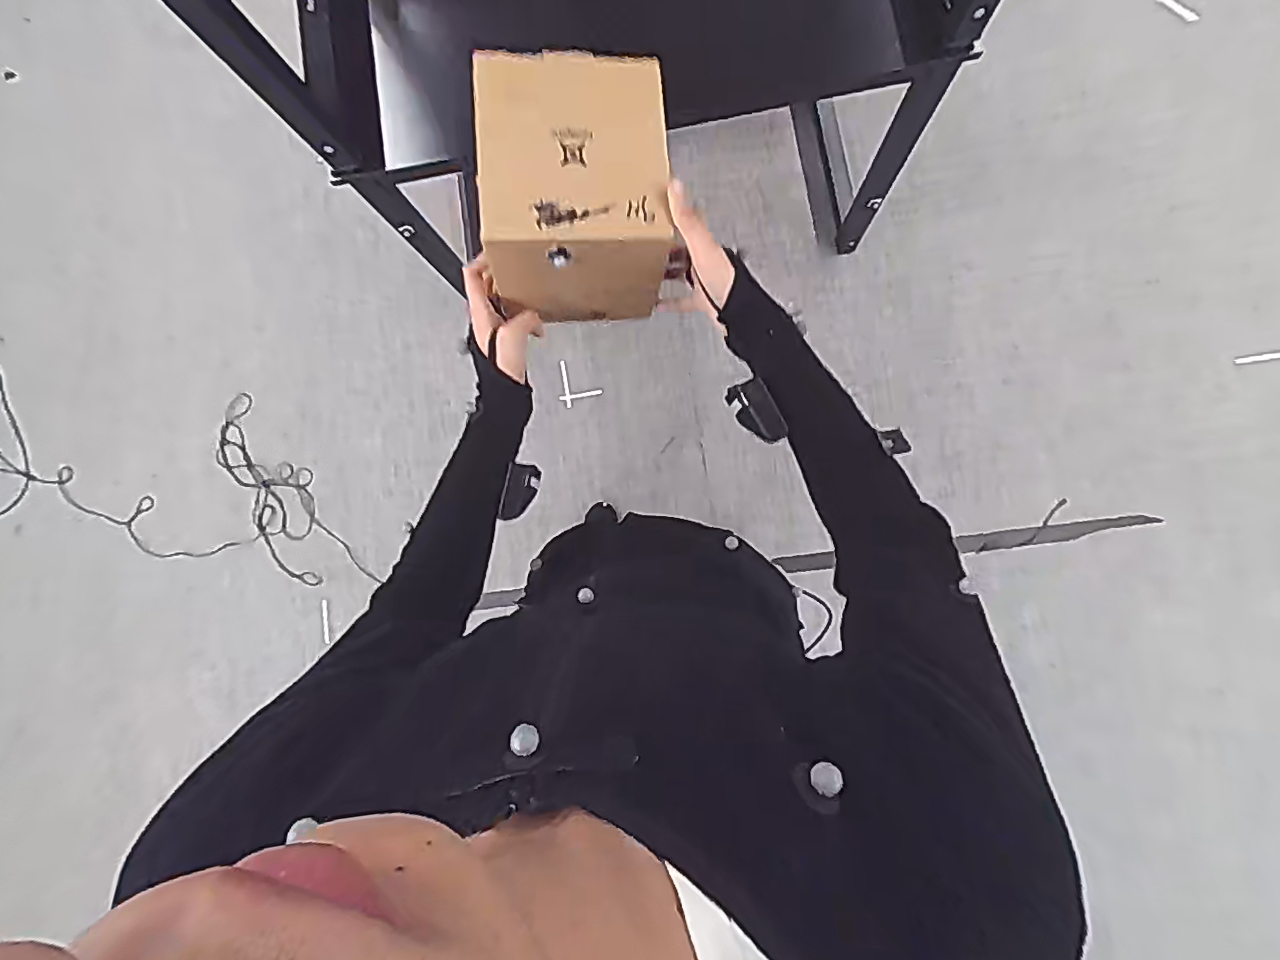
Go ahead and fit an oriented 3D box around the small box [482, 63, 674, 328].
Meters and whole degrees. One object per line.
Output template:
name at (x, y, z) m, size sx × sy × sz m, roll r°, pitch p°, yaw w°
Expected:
small box at (-0.065, -0.274, 0.553) m, size 0.168 × 0.176 × 0.179 m, roll -3°, pitch 81°, yaw -6°
